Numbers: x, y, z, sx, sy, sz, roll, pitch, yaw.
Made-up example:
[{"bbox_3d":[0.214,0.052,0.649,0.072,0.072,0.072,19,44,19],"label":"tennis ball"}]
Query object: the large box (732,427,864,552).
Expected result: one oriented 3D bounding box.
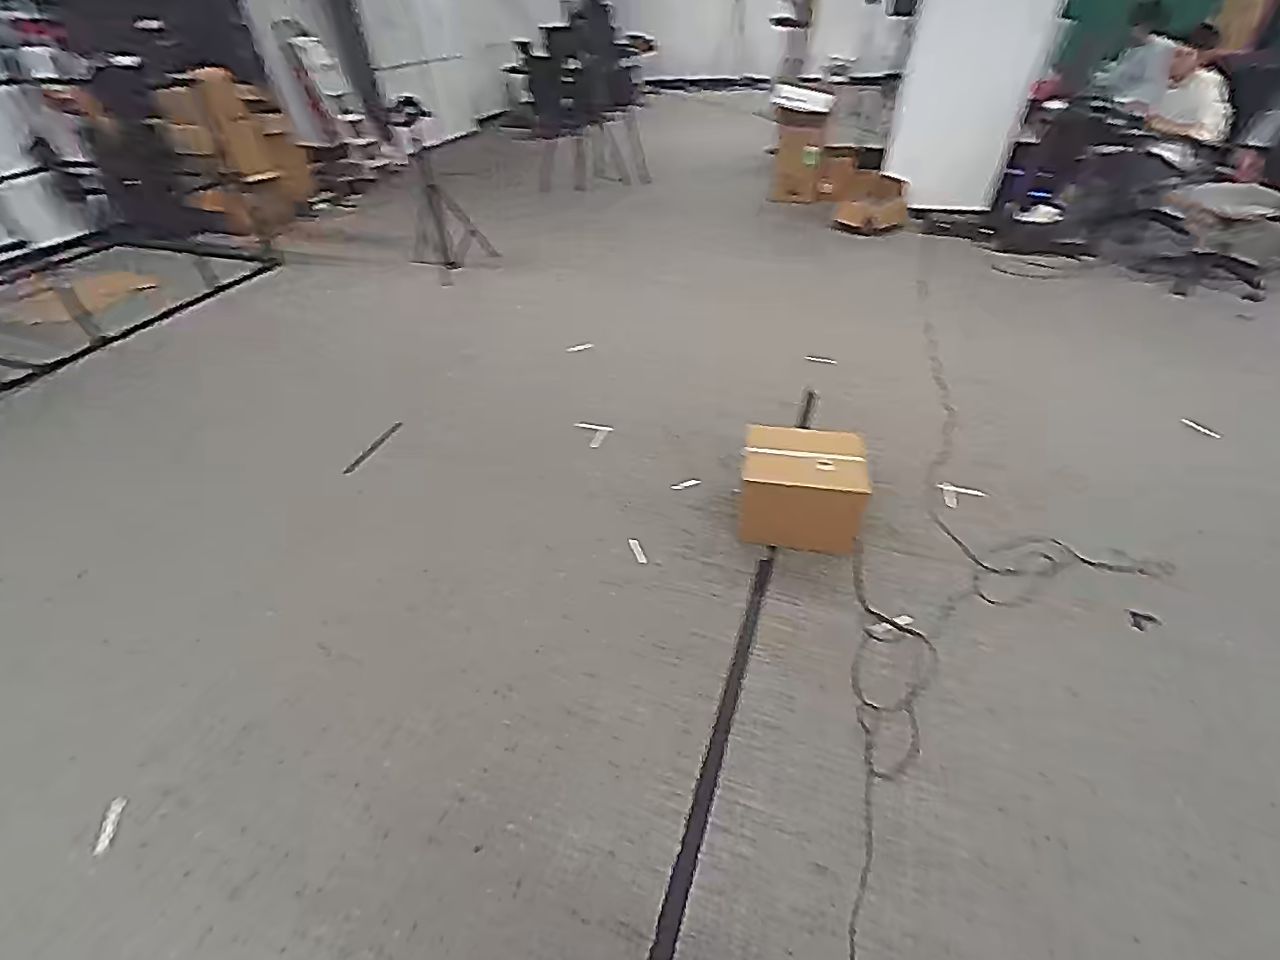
[{"bbox_3d":[0.555,0.031,1.963,0.408,0.320,0.320,7,43,10],"label":"large box"}]
